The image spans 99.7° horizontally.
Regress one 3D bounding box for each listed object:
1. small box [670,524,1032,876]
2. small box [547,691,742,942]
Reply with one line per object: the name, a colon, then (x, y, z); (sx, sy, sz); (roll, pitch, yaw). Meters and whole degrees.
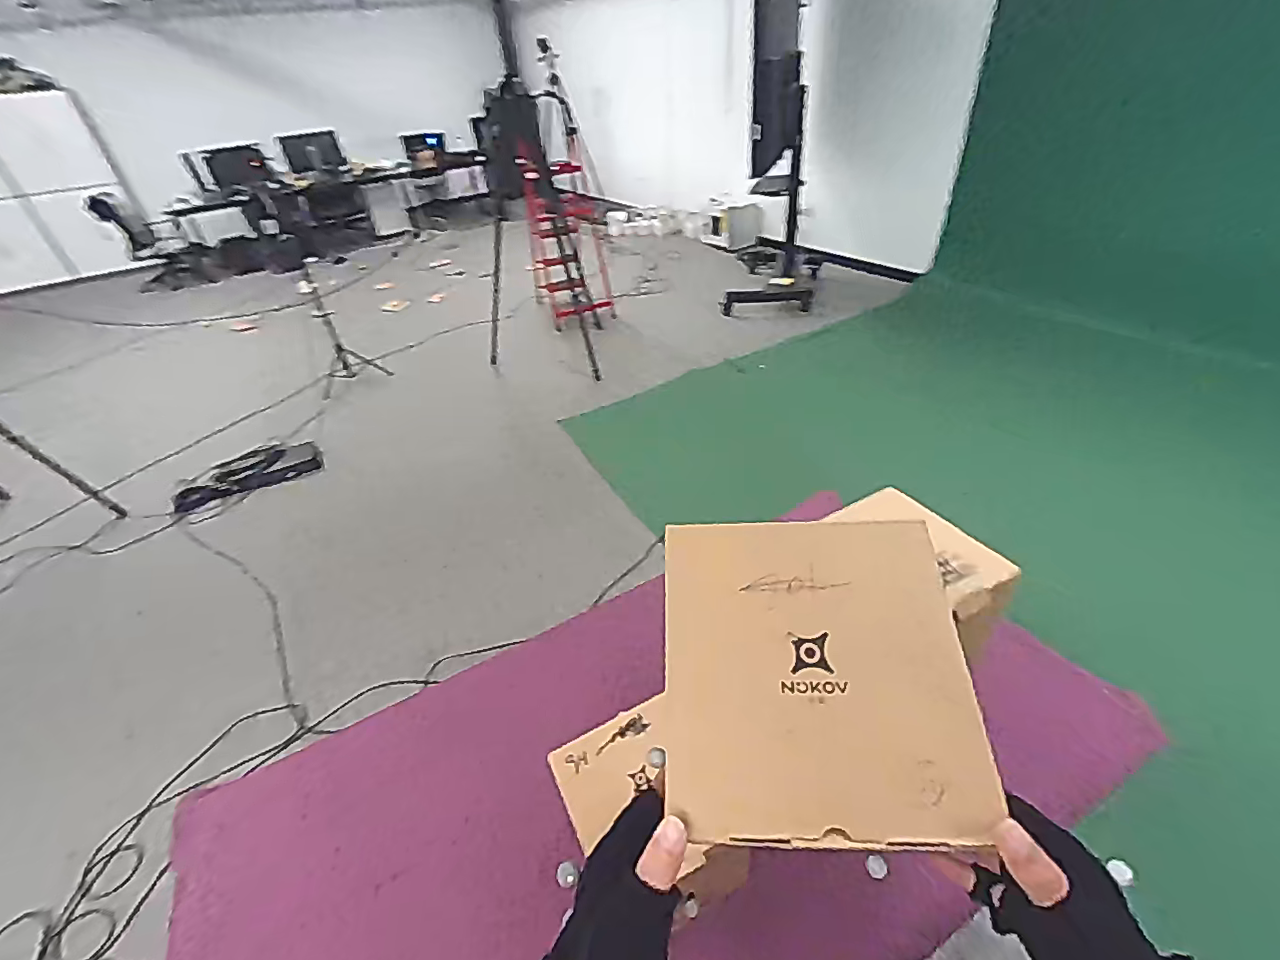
small box: (0.109, 0.143, 0.361); (0.168, 0.176, 0.179); (-1, 58, 6)
small box: (0.010, 0.394, 0.633); (0.168, 0.176, 0.179); (-21, 41, -18)
